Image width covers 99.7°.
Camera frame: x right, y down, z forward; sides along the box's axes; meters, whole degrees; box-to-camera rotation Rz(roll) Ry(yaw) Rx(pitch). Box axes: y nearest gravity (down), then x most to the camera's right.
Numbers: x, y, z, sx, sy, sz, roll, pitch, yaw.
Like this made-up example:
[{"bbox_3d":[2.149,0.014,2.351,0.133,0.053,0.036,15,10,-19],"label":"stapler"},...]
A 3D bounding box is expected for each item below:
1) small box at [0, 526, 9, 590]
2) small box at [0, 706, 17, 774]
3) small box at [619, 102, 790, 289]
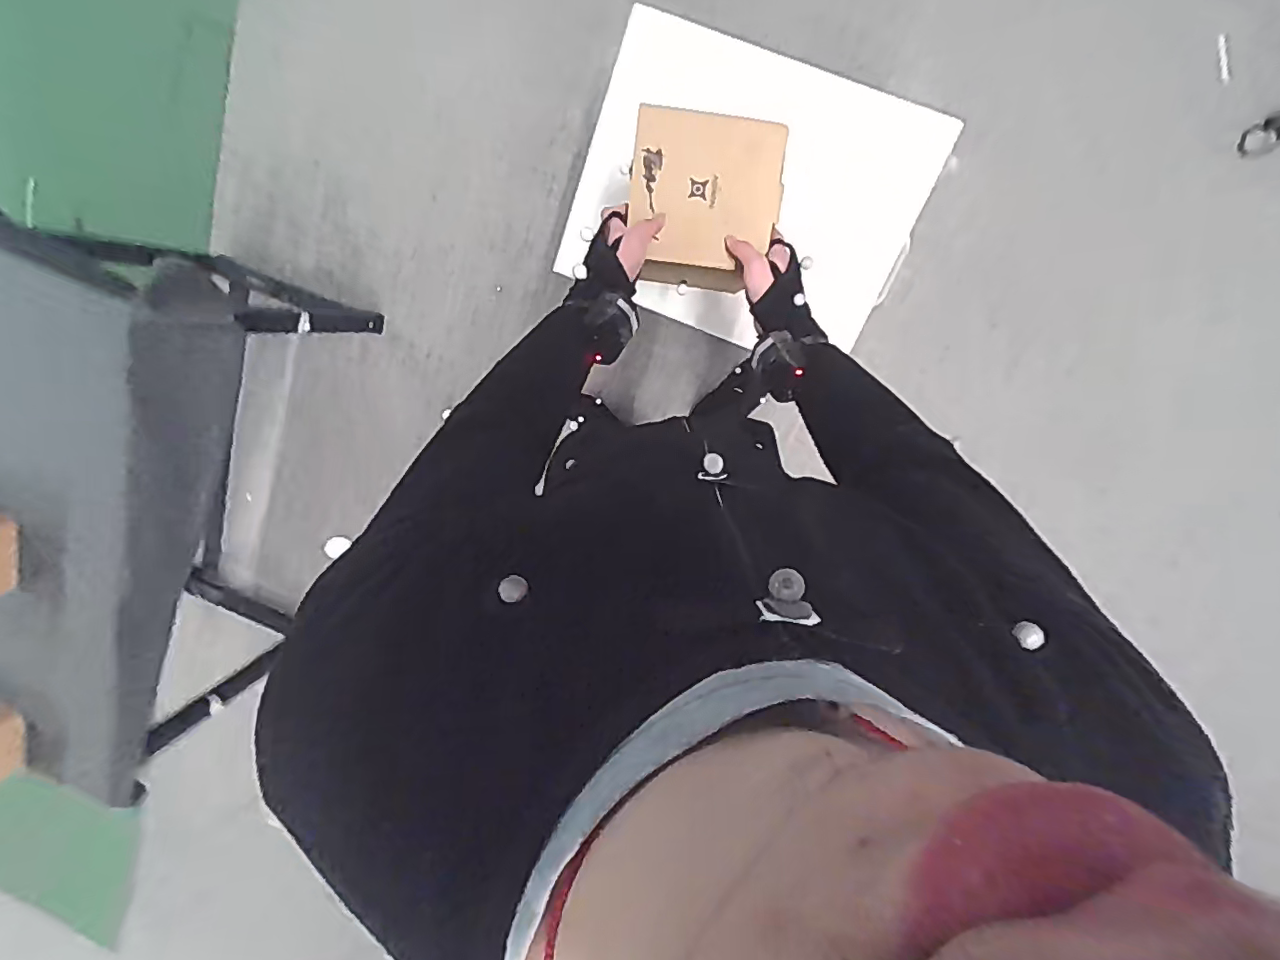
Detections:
[{"bbox_3d":[-1.380,0.144,1.035,0.168,0.176,0.179,22,109,4],"label":"small box"},{"bbox_3d":[-1.540,0.598,1.187,0.168,0.176,0.179,22,107,3],"label":"small box"},{"bbox_3d":[0.069,-0.346,0.695,0.179,0.176,0.168,5,102,-5],"label":"small box"}]
